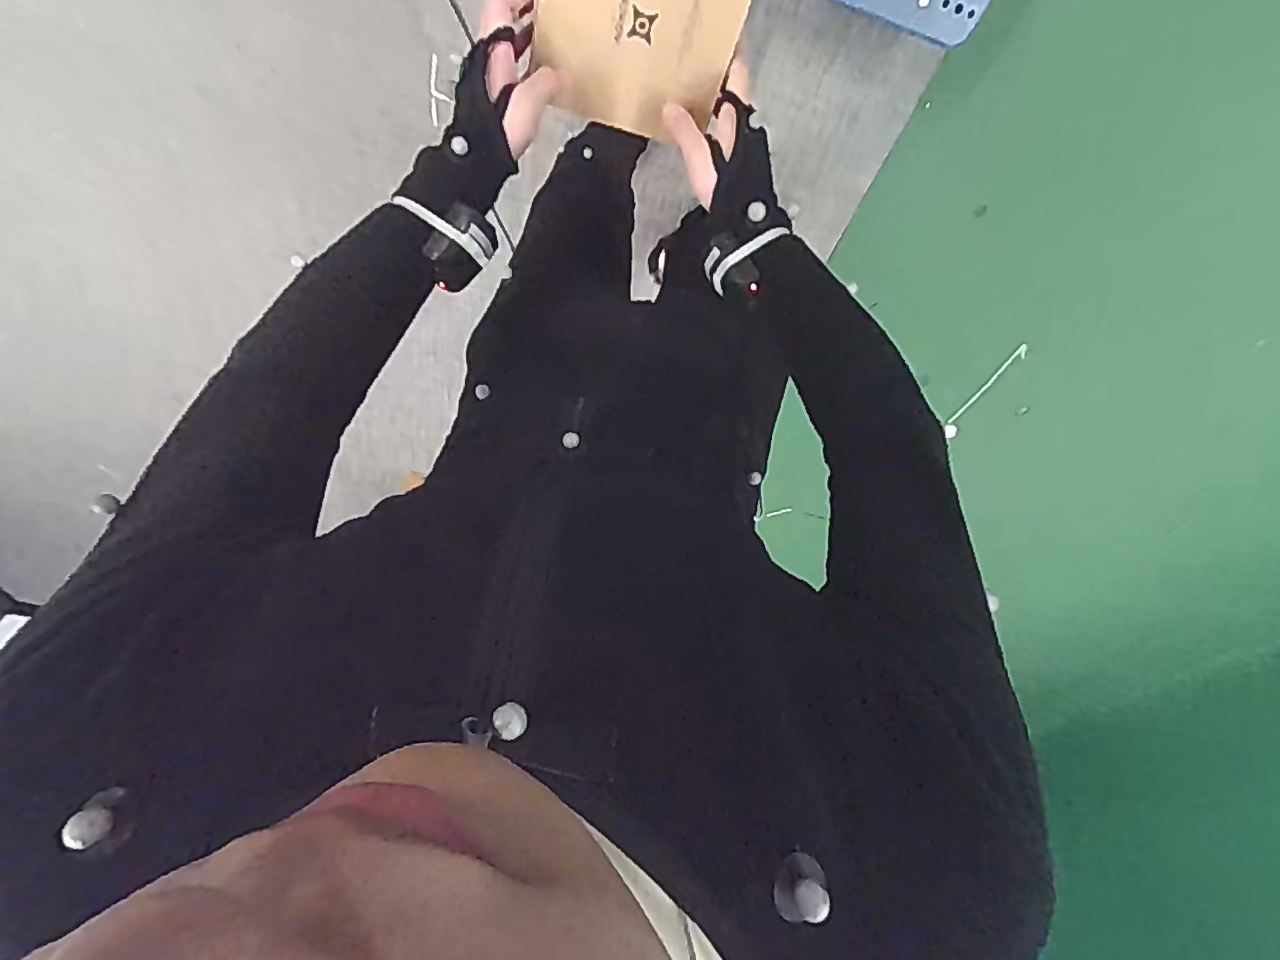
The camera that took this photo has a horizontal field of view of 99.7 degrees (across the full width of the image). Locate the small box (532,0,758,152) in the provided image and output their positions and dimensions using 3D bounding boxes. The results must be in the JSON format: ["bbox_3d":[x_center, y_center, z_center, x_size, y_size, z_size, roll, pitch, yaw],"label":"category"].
[{"bbox_3d":[0.005,-0.457,0.514,0.179,0.176,0.168,10,143,-14],"label":"small box"}]
